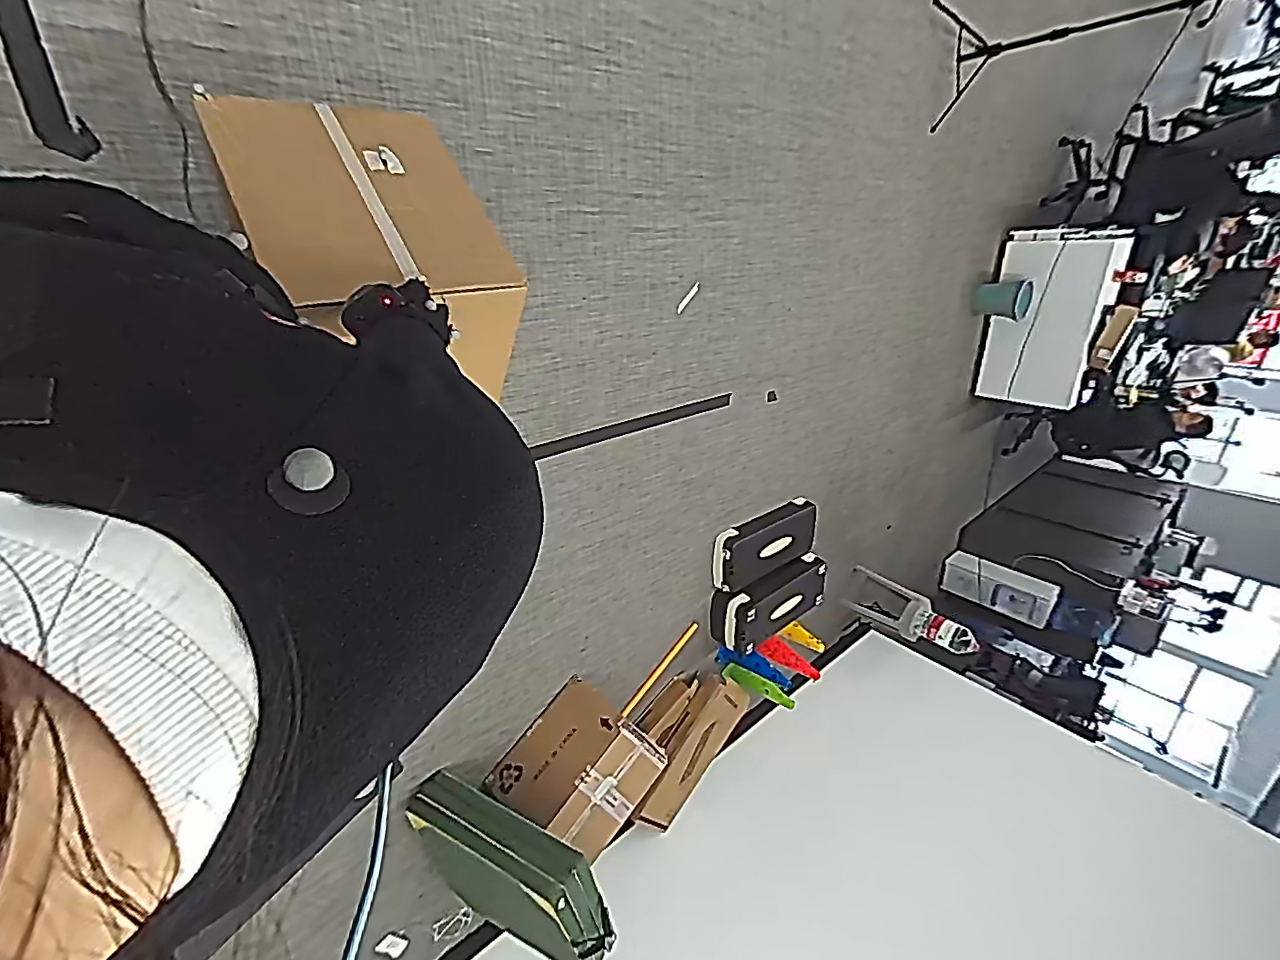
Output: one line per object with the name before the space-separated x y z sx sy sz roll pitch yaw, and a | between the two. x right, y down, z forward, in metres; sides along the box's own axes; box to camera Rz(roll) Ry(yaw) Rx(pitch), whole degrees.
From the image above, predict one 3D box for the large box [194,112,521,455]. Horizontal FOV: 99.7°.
large box | -0.443 -0.313 0.881 0.320 0.408 0.320 -20 158 -34
